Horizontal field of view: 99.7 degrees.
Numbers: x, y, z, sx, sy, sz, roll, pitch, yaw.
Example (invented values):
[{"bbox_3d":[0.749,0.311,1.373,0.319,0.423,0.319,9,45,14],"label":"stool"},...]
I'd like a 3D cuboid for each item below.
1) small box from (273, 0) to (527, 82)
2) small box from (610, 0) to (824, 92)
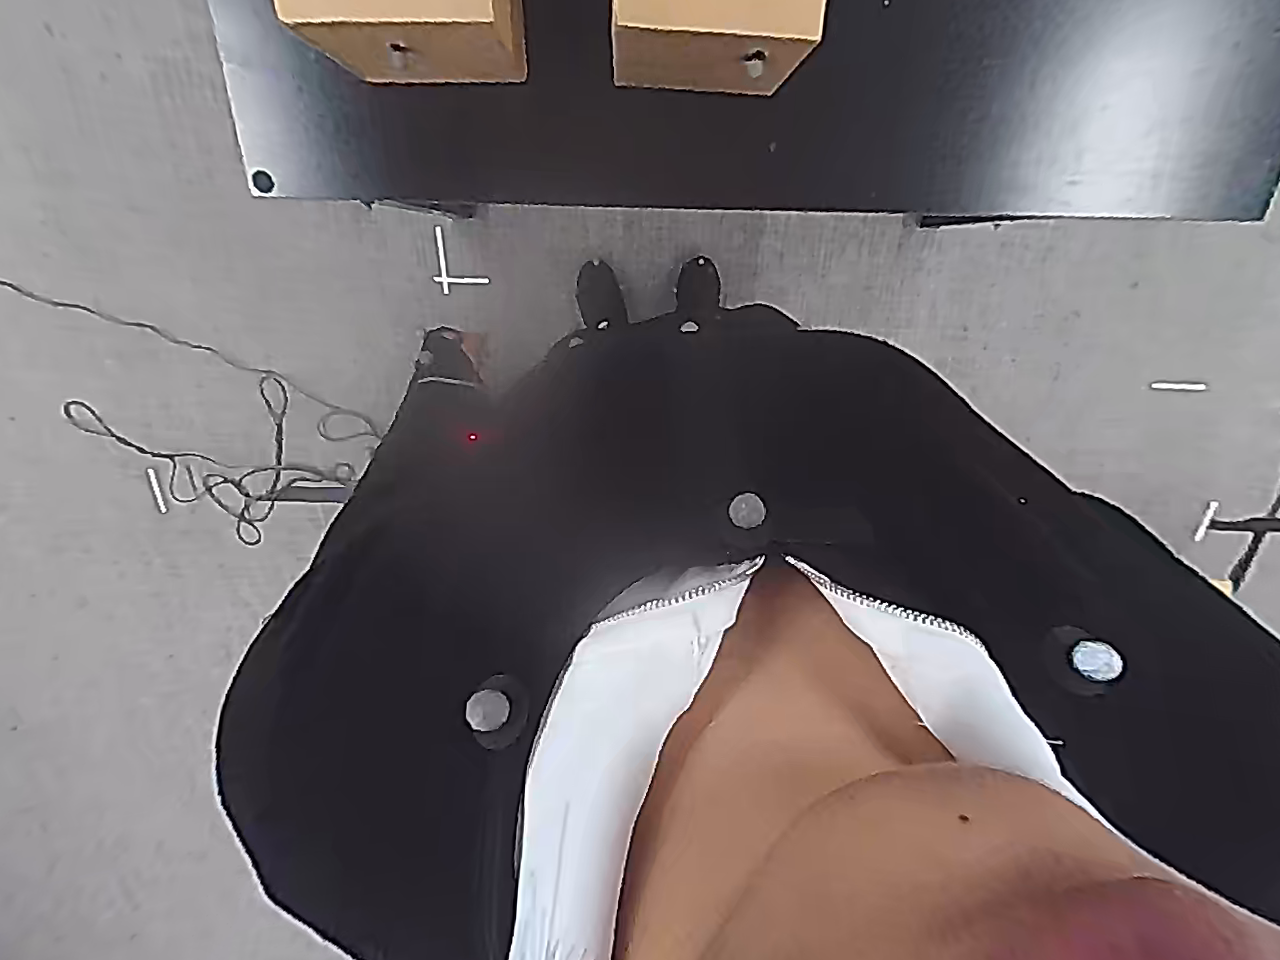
[{"bbox_3d":[-0.209,-0.476,0.482,0.179,0.176,0.168,-1,113,-1],"label":"small box"},{"bbox_3d":[0.064,-0.474,0.490,0.179,0.176,0.168,2,112,-2],"label":"small box"}]
